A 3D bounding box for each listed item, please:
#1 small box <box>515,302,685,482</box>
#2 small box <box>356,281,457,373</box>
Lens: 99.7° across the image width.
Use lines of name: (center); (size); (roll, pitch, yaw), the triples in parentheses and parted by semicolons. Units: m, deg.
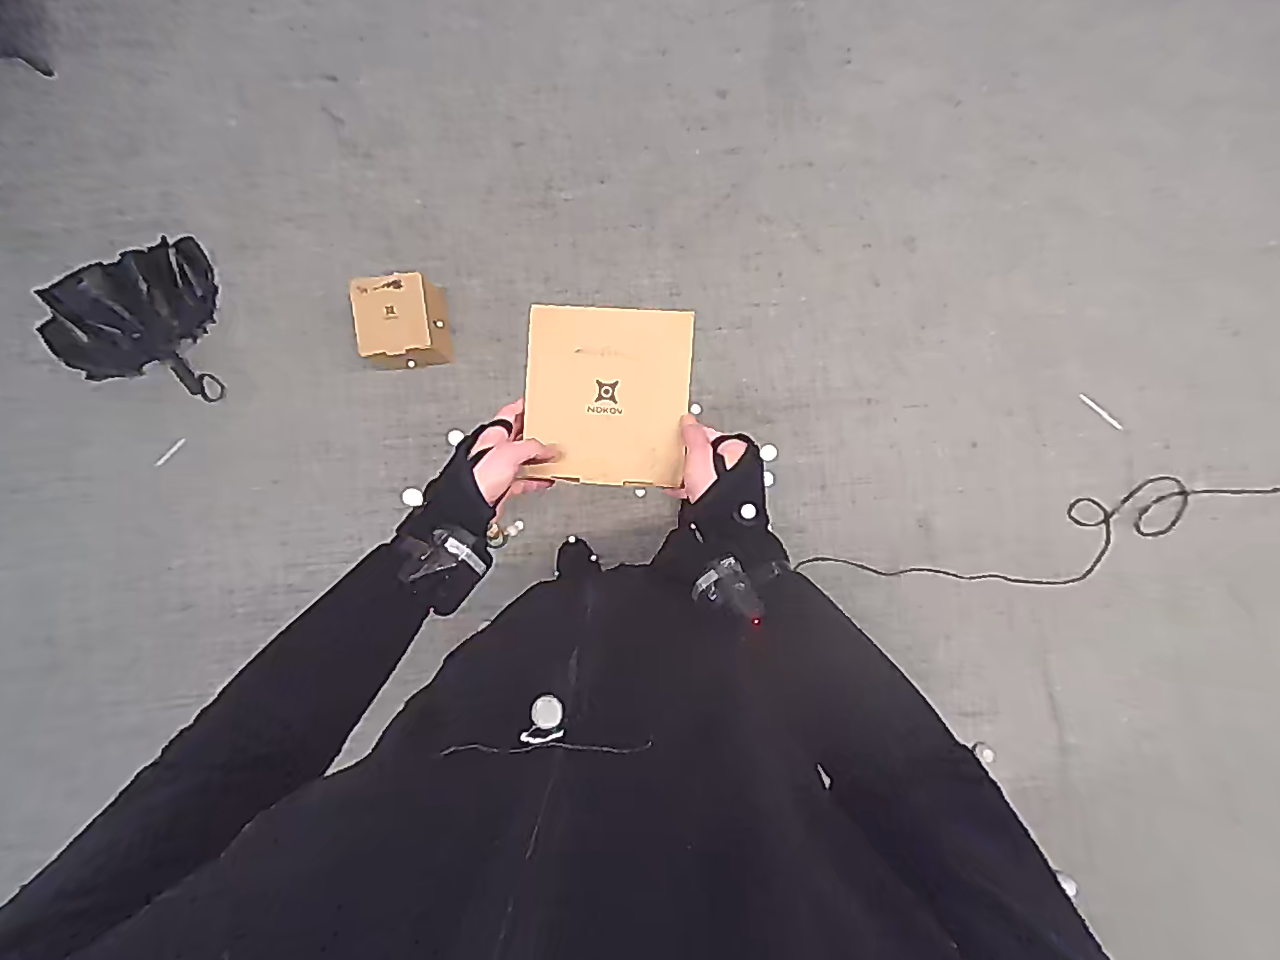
small box: (-0.035, -0.090, 0.619); (0.168, 0.176, 0.179); (3, 90, 4)
small box: (-0.563, -0.365, 1.324); (0.168, 0.176, 0.179); (-8, 91, -1)
